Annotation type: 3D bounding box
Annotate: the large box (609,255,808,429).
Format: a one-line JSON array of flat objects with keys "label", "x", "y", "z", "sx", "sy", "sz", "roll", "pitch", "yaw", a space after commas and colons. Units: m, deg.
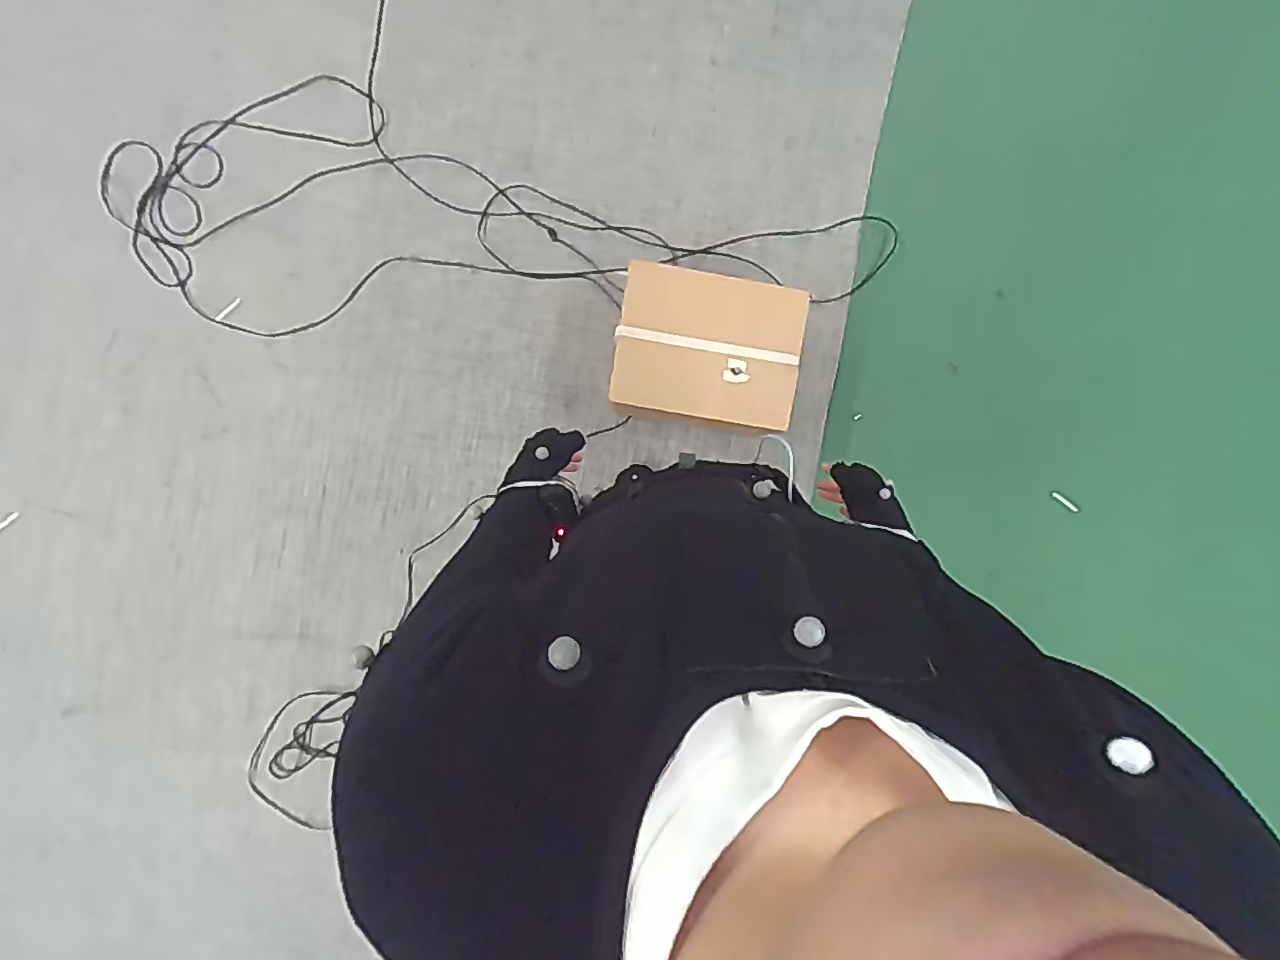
[{"label": "large box", "x": 0.143, "y": -0.313, "z": 1.323, "sx": 0.408, "sy": 0.320, "sz": 0.320, "roll": 9, "pitch": 93, "yaw": -2}]
